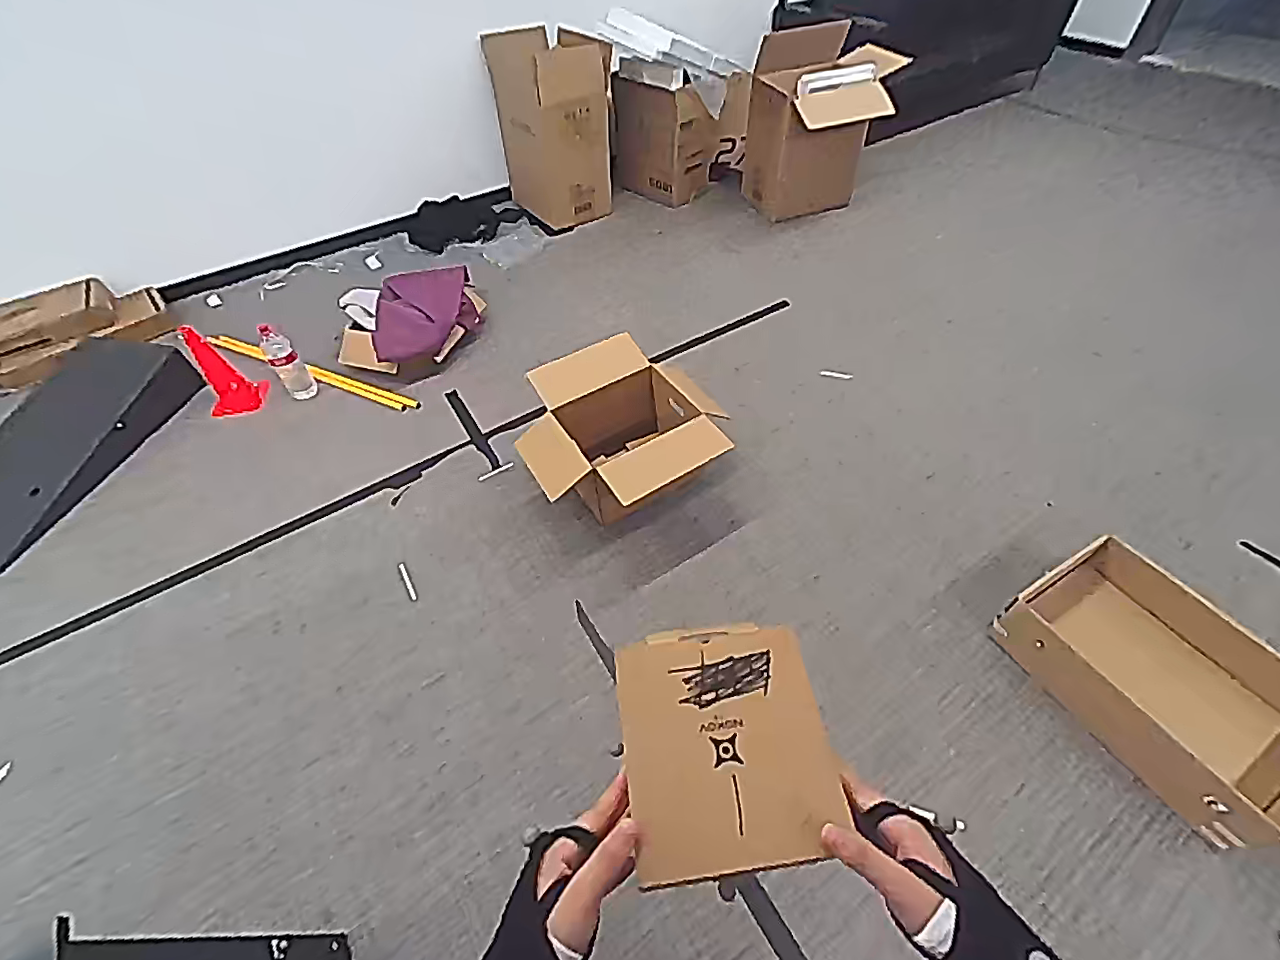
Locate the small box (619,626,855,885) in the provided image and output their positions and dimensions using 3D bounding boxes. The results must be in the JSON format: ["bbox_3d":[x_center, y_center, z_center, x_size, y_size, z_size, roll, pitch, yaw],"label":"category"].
[{"bbox_3d":[0.069,0.260,0.509,0.168,0.176,0.179,-6,52,-5],"label":"small box"}]
